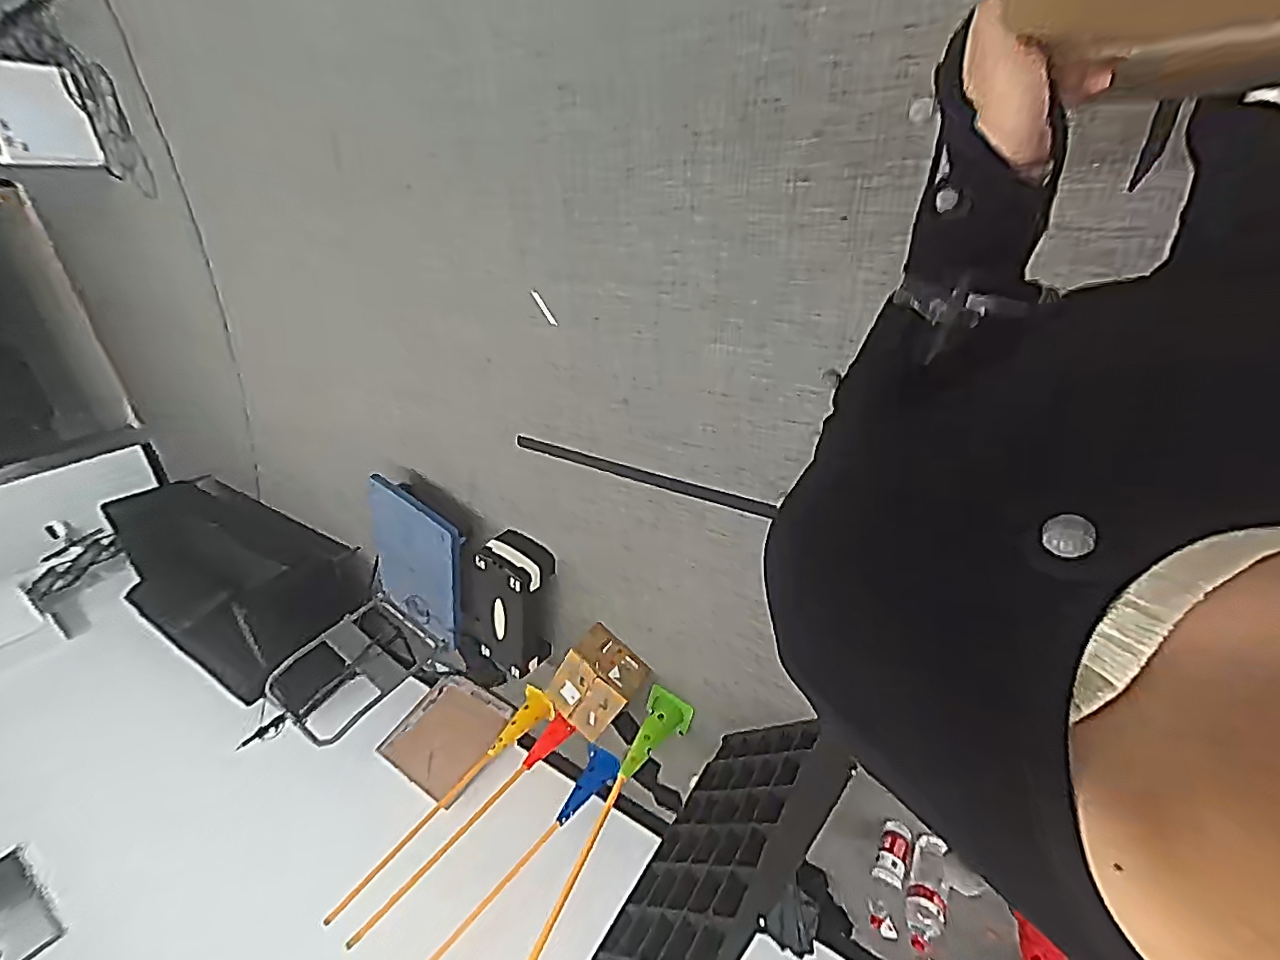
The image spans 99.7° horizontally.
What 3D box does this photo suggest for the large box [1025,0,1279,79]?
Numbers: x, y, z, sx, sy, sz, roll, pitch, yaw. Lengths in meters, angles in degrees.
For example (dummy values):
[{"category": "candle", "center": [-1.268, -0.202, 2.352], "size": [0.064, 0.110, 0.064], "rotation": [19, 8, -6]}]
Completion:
[{"category": "large box", "center": [0.368, -0.342, 0.125], "size": [0.408, 0.320, 0.320], "rotation": [19, 121, 35]}]
